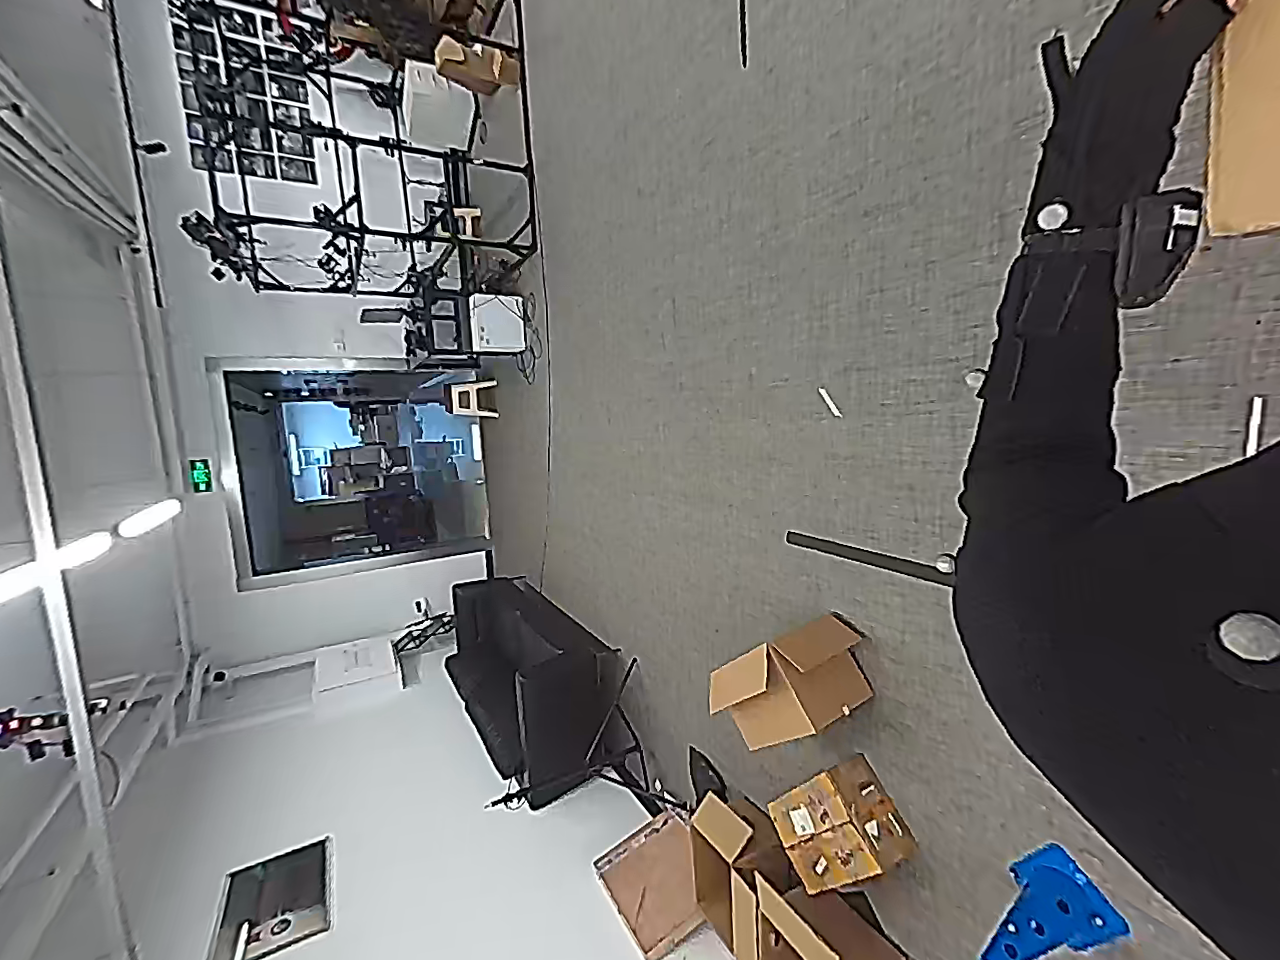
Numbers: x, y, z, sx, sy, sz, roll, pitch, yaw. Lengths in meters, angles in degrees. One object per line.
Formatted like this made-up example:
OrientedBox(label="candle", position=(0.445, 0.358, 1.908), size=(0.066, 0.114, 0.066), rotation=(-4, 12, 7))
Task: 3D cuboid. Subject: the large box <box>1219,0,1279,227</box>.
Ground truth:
OrientedBox(label="large box", position=(0.544, -0.319, 0.201), size=(0.408, 0.320, 0.320), rotation=(8, 112, 58))
